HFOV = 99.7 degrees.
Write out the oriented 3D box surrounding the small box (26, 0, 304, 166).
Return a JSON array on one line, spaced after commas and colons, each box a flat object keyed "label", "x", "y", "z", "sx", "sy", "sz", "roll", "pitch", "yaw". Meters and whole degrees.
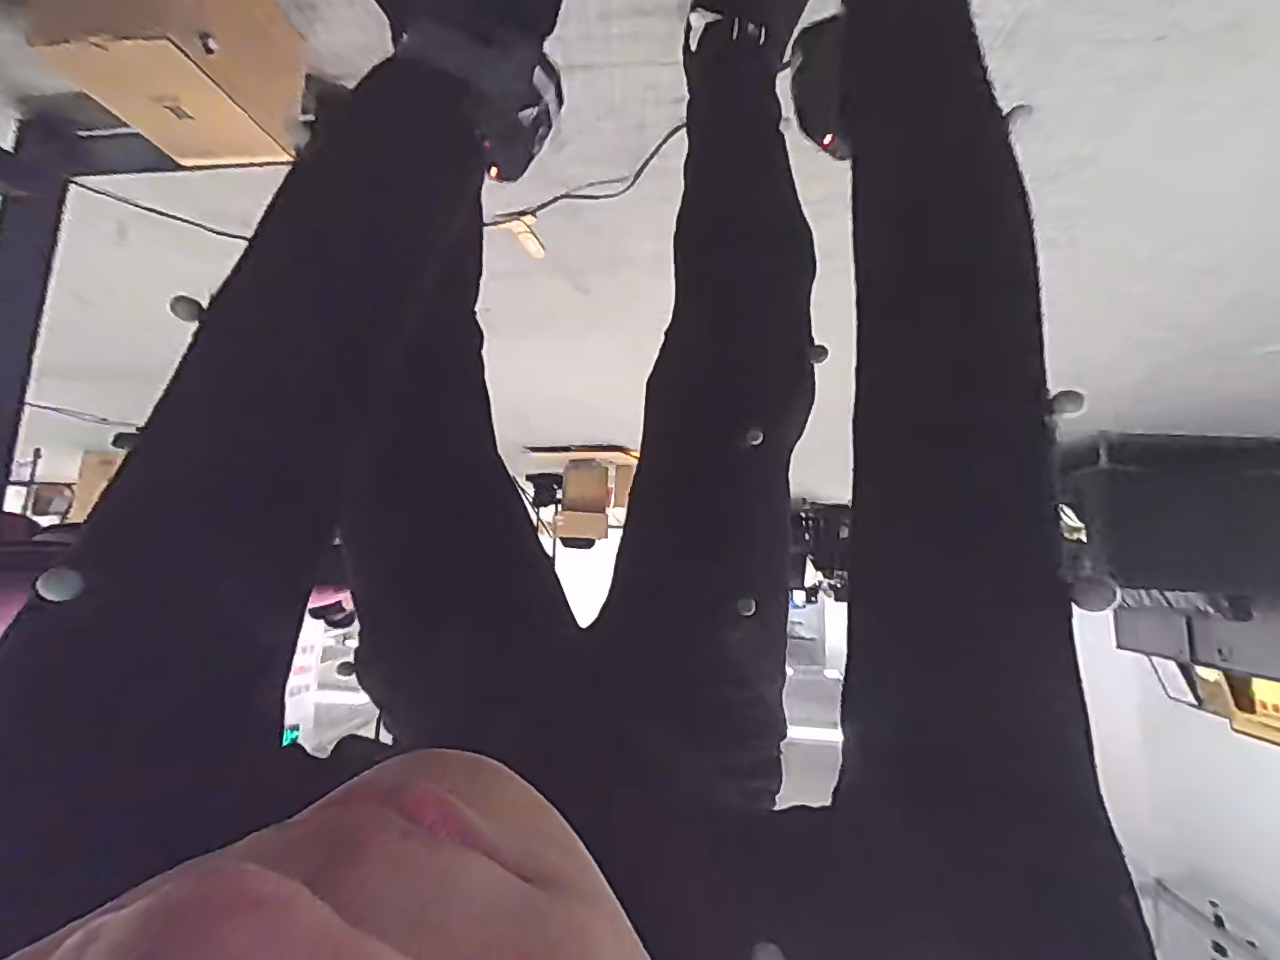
[{"label": "small box", "x": -0.532, "y": -0.507, "z": 0.635, "sx": 0.168, "sy": 0.176, "sz": 0.179, "roll": 2, "pitch": 172, "yaw": 7}]
